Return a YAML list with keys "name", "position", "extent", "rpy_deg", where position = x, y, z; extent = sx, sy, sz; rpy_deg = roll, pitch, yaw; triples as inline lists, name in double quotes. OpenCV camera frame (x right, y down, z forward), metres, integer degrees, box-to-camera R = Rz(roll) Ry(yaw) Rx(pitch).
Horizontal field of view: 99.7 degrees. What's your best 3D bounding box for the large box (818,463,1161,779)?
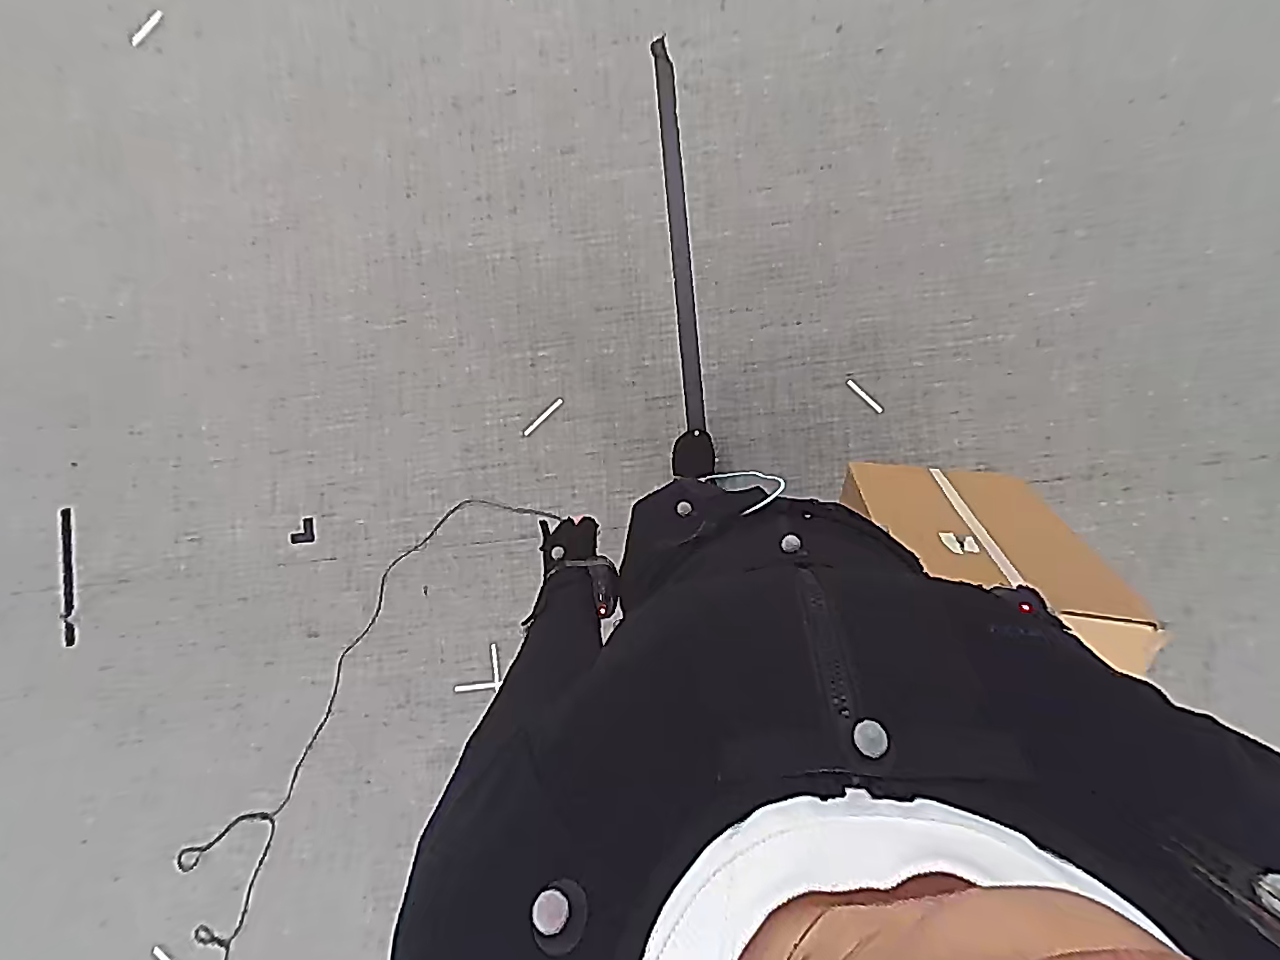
- name: "large box"
  position: [0.515, 0.209, 0.924]
  extent: [0.320, 0.408, 0.320]
  rpy_deg: [6, 119, 7]
